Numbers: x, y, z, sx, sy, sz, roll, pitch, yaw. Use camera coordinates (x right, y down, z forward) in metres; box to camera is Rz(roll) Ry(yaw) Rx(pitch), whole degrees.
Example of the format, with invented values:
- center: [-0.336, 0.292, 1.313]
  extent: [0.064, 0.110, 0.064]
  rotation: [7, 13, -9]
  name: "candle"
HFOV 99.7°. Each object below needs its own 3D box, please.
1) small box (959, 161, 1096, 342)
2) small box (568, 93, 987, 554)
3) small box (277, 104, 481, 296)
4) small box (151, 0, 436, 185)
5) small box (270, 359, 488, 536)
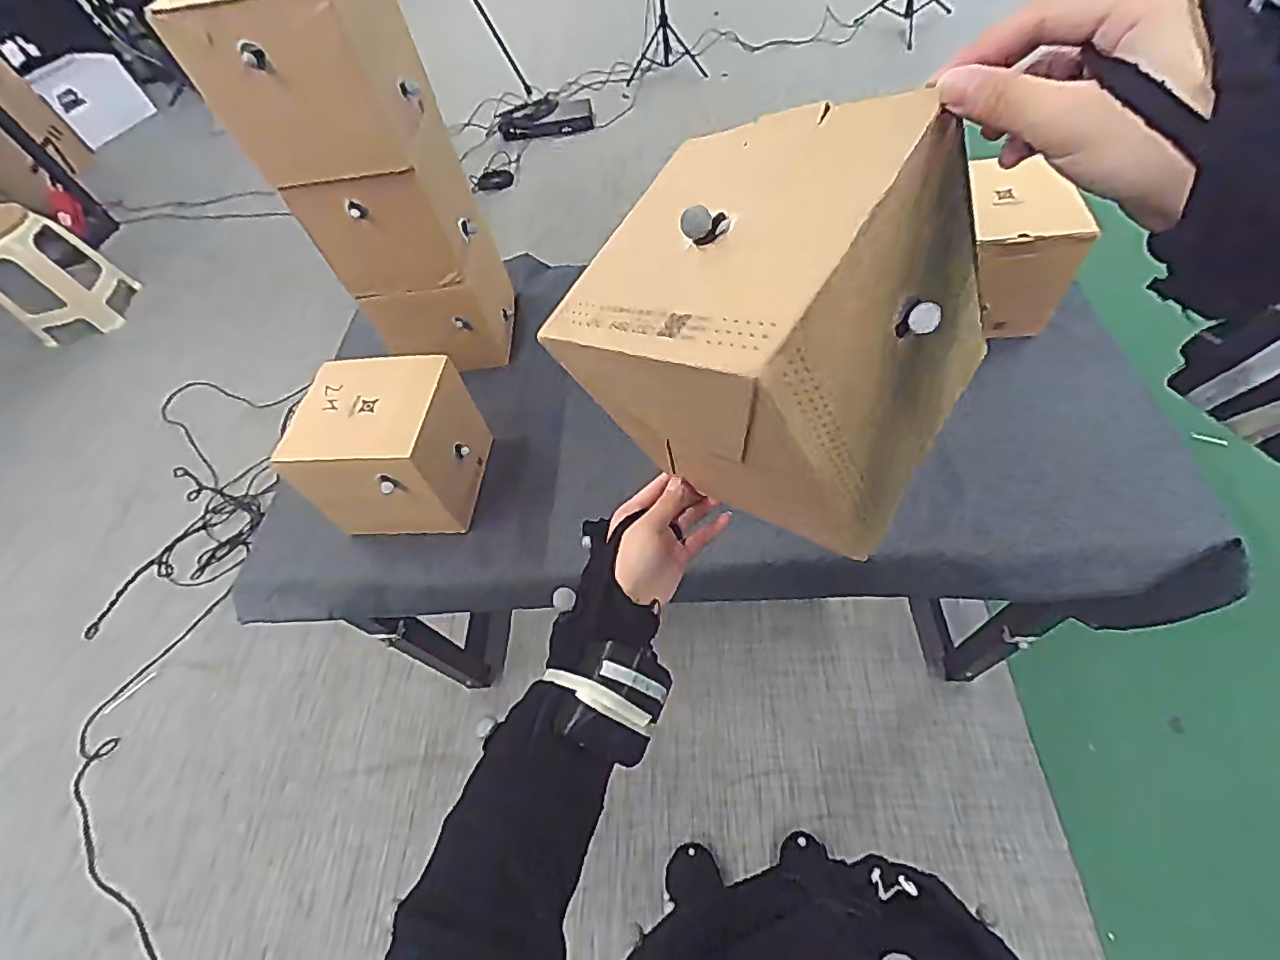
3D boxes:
- center: [0.481, -0.317, 0.768]
  extent: [0.168, 0.176, 0.179]
  rotation: [-1, 59, 9]
  name: "small box"
- center: [0.080, -0.080, 0.332]
  extent: [0.168, 0.179, 0.176]
  rotation: [25, 76, 46]
  name: "small box"
- center: [-0.338, -0.373, 0.739]
  extent: [0.179, 0.176, 0.168]
  rotation: [-6, 59, 4]
  name: "small box"
- center: [-0.355, -0.452, 0.595]
  extent: [0.179, 0.176, 0.168]
  rotation: [-4, 59, 5]
  name: "small box"
- center: [-0.319, -0.037, 0.709]
  extent: [0.179, 0.176, 0.168]
  rotation: [-1, 54, 8]
  name: "small box"
